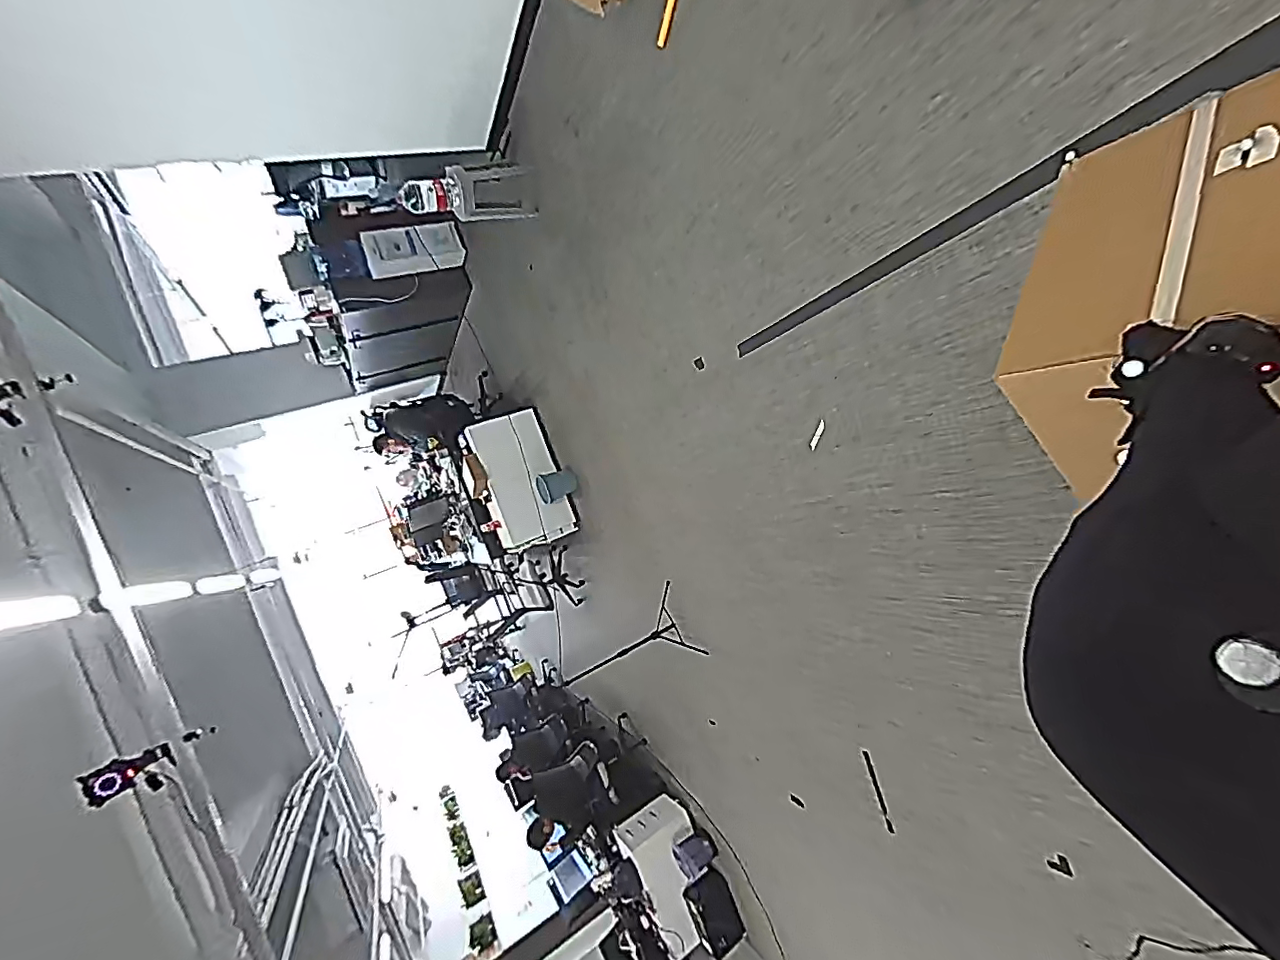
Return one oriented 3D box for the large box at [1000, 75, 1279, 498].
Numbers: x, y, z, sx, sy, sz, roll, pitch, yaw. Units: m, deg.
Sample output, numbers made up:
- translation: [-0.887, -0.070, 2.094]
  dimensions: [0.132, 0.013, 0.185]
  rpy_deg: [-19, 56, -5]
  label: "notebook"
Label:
- translation: [0.739, -0.222, 0.691]
  dimensions: [0.320, 0.408, 0.320]
  rpy_deg: [37, 162, -25]
  label: "large box"
